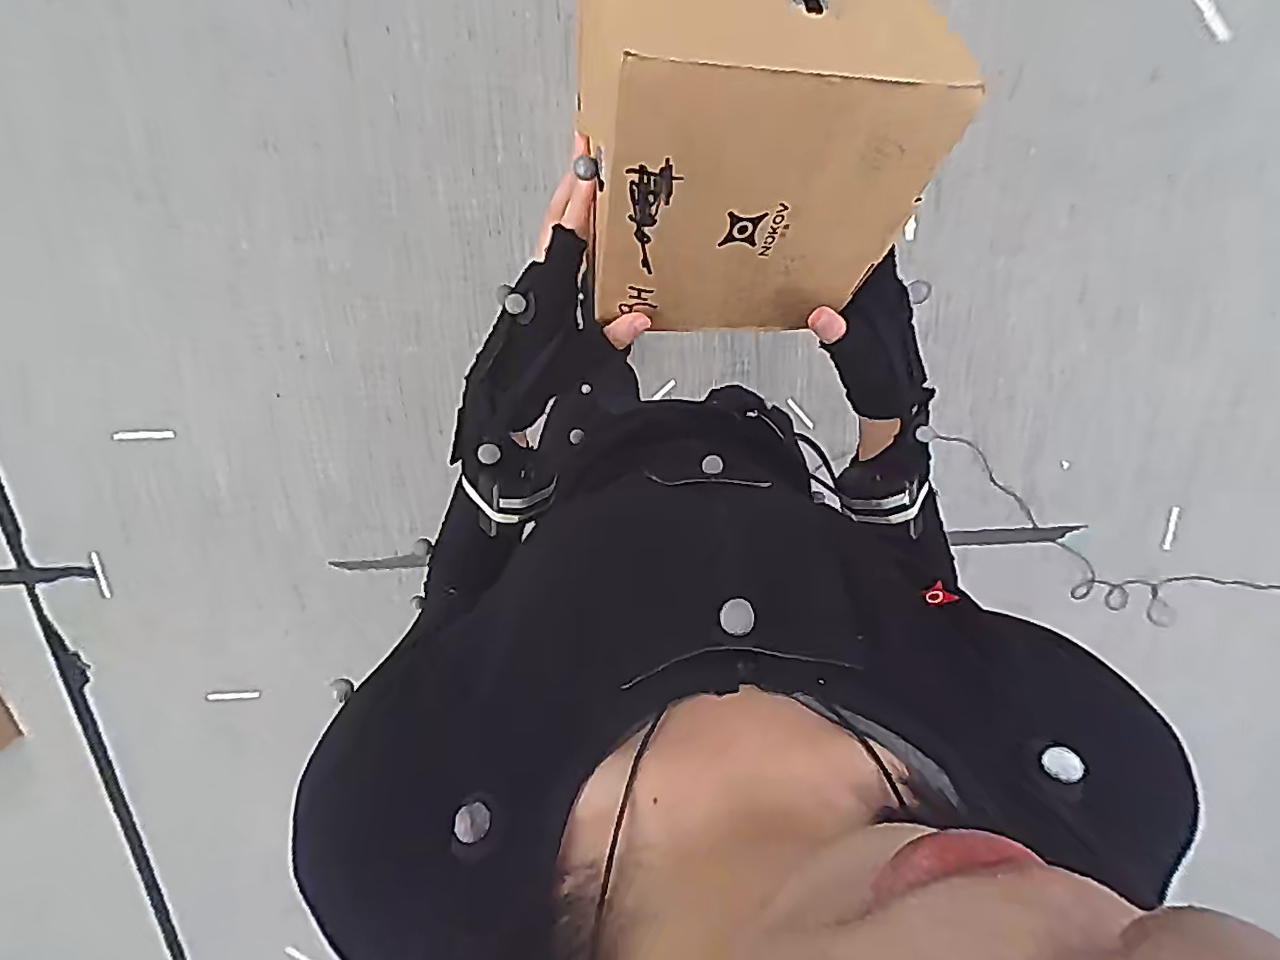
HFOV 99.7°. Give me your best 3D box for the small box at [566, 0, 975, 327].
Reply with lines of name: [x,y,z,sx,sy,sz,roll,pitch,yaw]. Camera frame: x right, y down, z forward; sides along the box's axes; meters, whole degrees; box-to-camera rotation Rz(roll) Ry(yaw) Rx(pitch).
small box: [0.052,-0.217,0.340,0.179,0.168,0.176,-3,64,-11]
